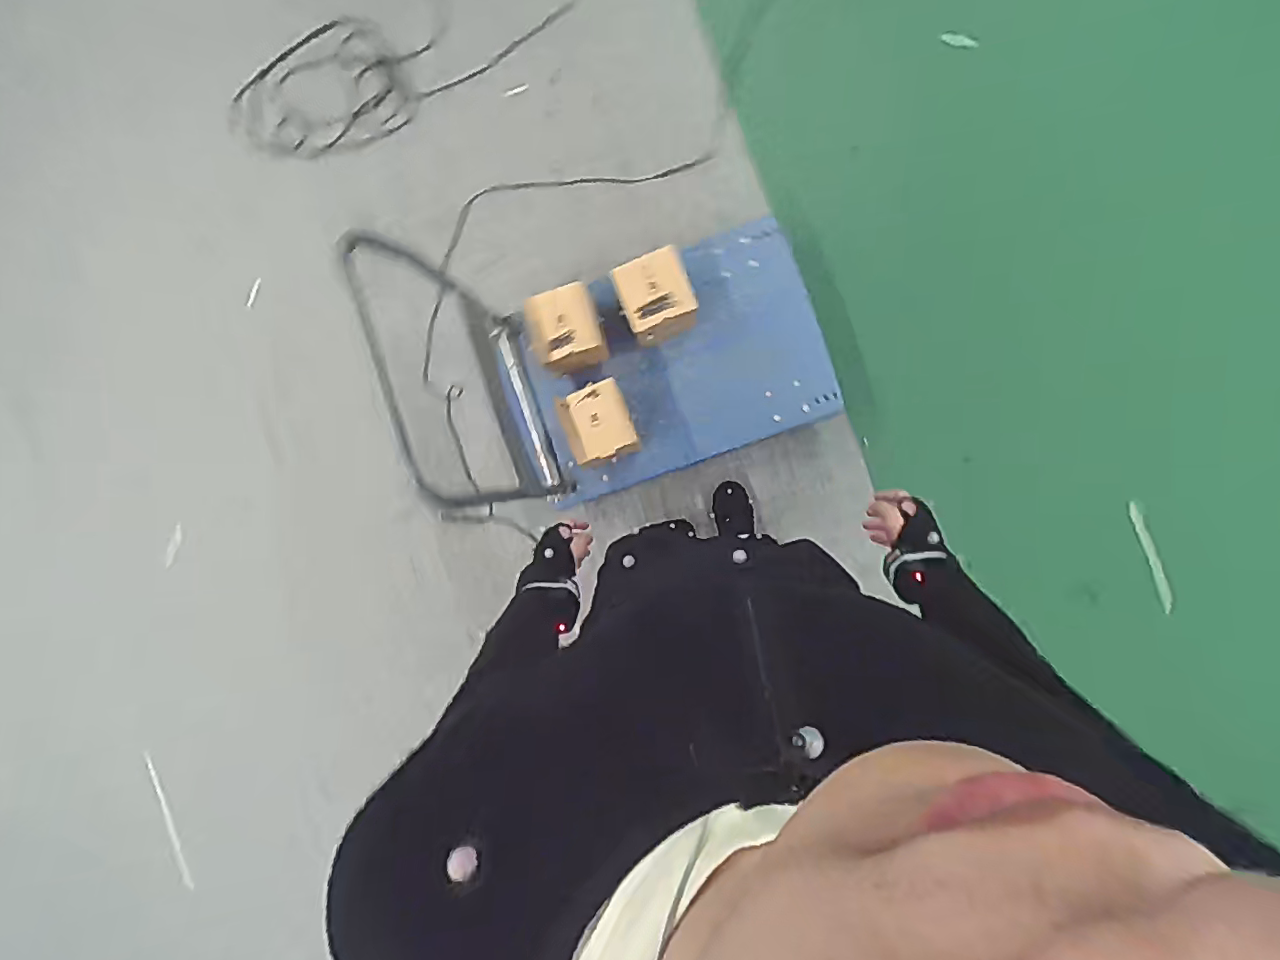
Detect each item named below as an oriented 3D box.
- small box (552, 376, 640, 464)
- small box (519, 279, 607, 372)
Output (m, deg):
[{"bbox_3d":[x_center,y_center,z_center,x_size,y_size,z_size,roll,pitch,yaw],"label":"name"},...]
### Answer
[{"bbox_3d":[-0.107,-0.149,1.415,0.168,0.176,0.179,-22,88,4],"label":"small box"},{"bbox_3d":[-0.195,-0.396,1.426,0.168,0.176,0.179,-17,87,4],"label":"small box"}]
